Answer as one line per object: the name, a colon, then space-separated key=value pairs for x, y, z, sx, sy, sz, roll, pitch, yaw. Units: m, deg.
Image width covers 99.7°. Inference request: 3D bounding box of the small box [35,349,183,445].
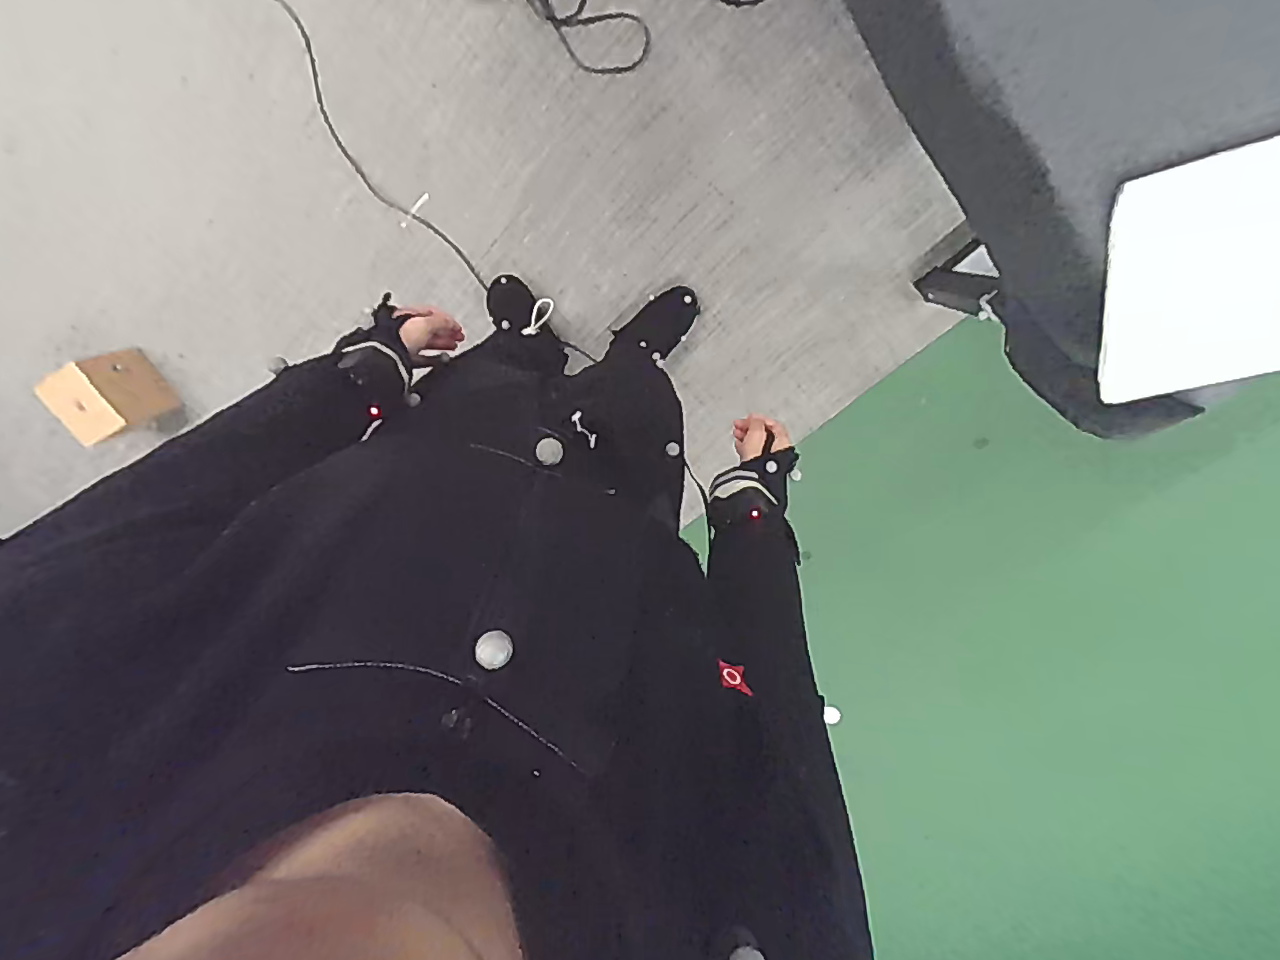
small box: x=-1.350 y=-0.221 z=1.388 sx=0.168 sy=0.176 sz=0.179 roll=-23 pitch=111 yaw=17
